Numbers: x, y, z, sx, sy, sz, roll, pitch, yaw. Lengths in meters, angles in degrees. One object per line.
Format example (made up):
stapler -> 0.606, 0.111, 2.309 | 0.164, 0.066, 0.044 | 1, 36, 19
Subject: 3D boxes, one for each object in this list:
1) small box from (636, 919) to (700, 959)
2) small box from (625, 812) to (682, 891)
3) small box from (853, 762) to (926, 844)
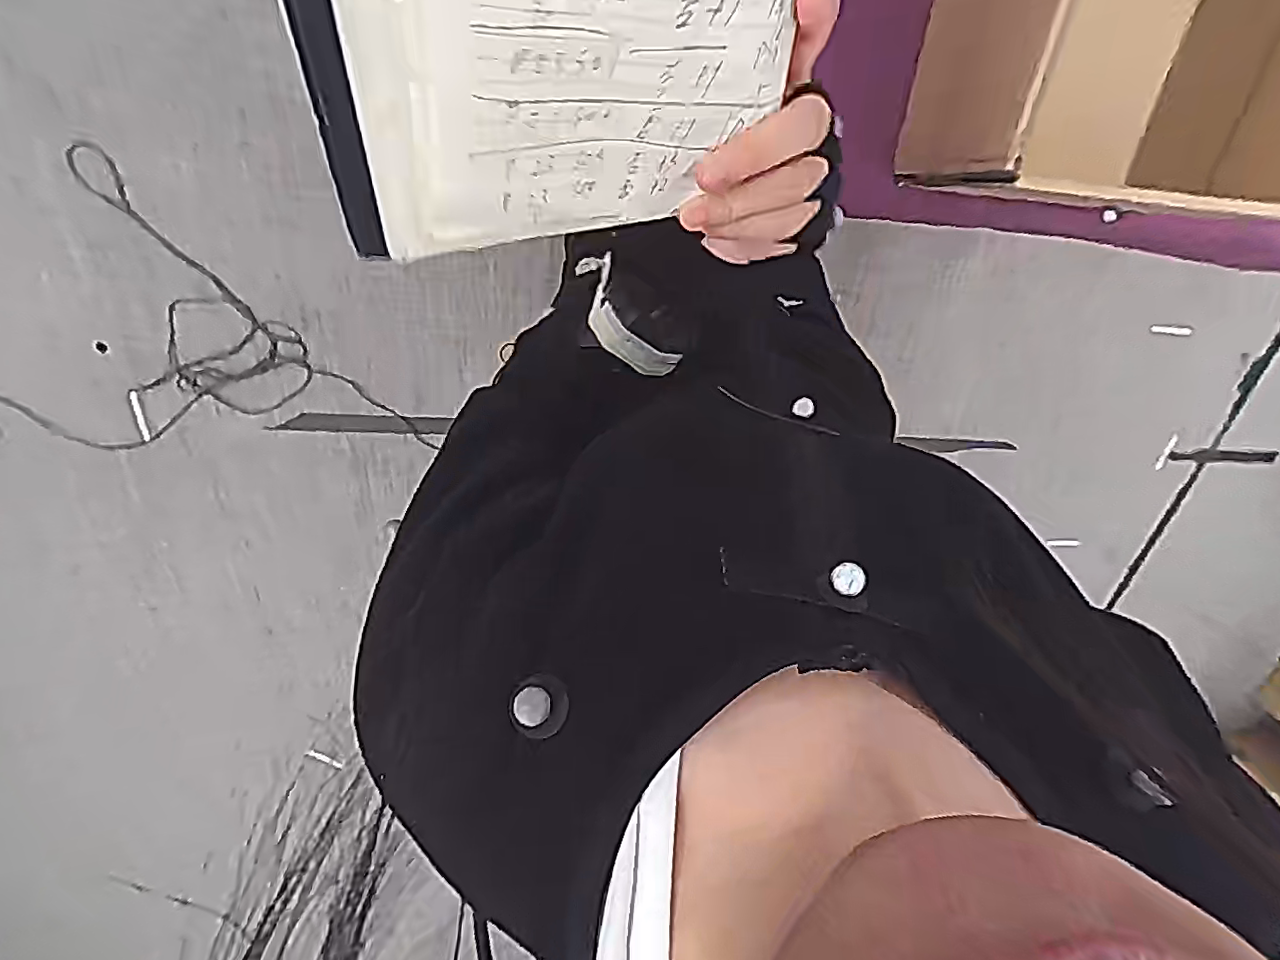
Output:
small box -> 0.085, 1.443, 1.596 | 0.168, 0.176, 0.179 | 0, 119, -11
small box -> 0.040, 1.284, 1.881 | 0.168, 0.176, 0.179 | -2, 120, -9
small box -> 0.890, 1.161, 1.948 | 0.179, 0.176, 0.168 | -28, 121, 7
